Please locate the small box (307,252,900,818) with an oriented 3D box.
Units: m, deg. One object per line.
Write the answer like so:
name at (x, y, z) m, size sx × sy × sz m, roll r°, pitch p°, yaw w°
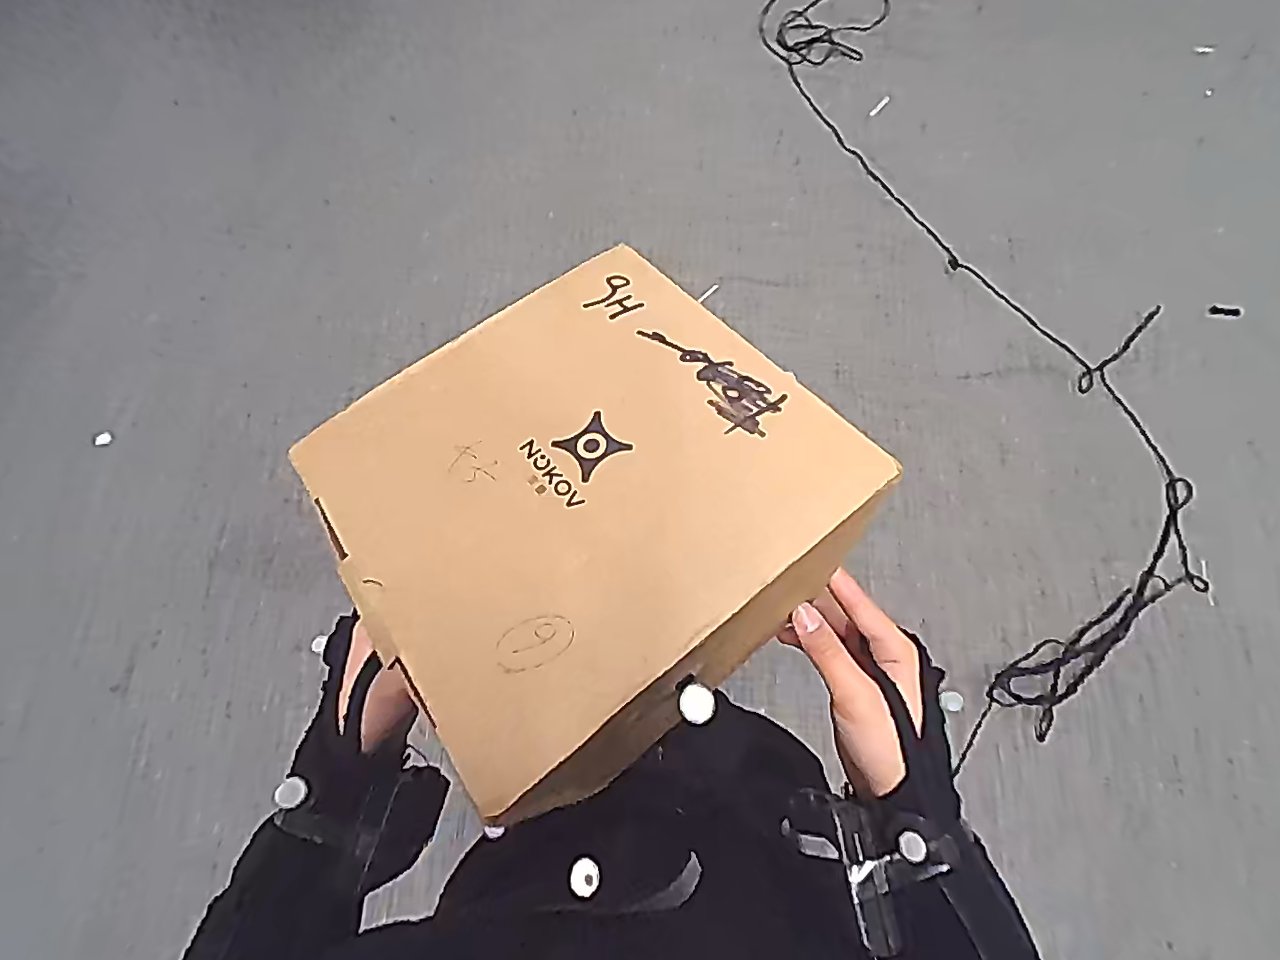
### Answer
small box at (-0.013, 0.032, 0.275) m, size 0.179 × 0.176 × 0.168 m, roll -36°, pitch 64°, yaw -12°
